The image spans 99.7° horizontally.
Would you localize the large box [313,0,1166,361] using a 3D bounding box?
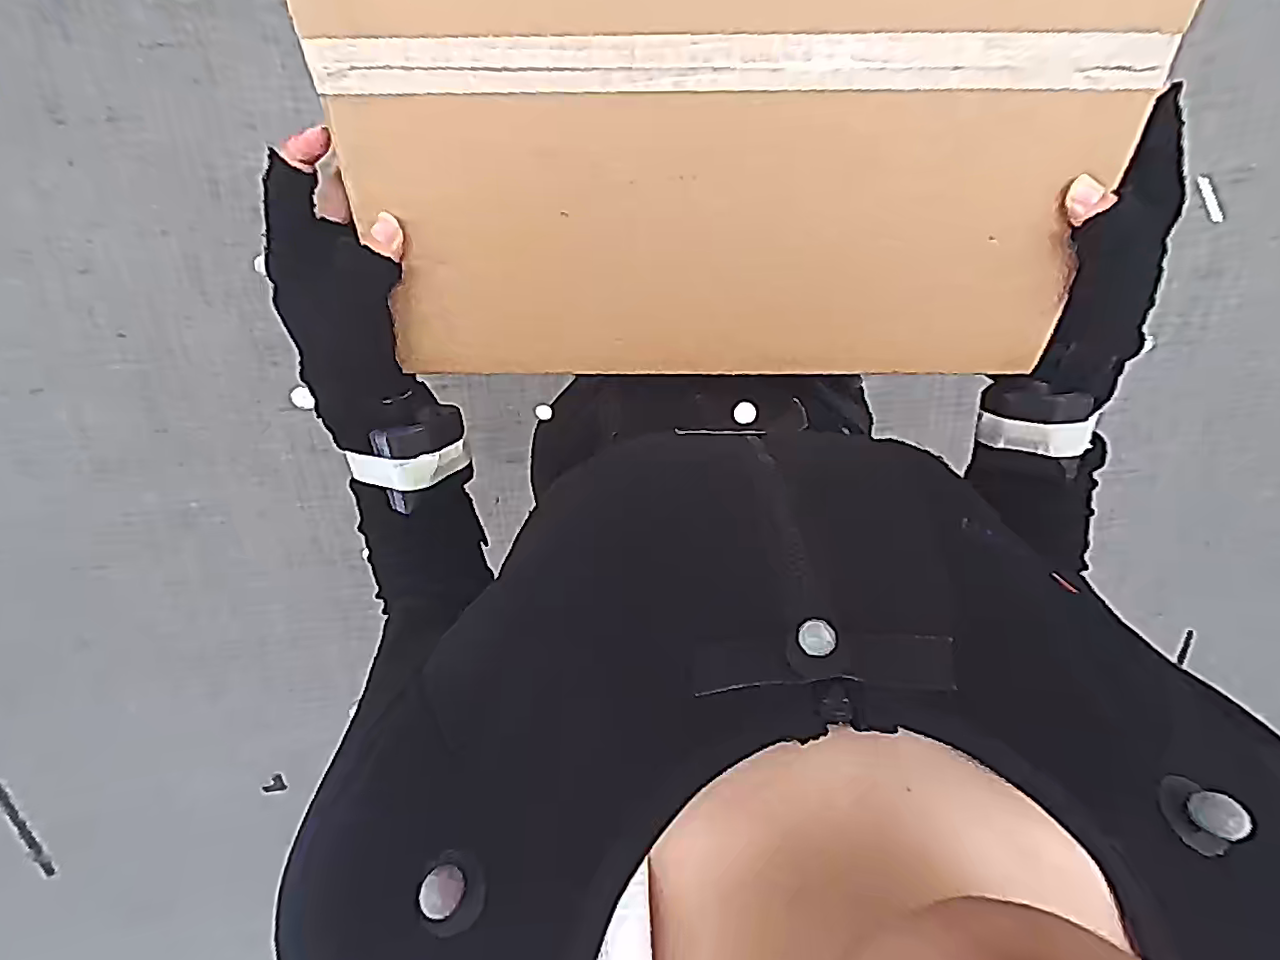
[{"bbox_3d":[0.043,-0.292,0.386,0.408,0.320,0.320,0,127,0],"label":"large box"}]
